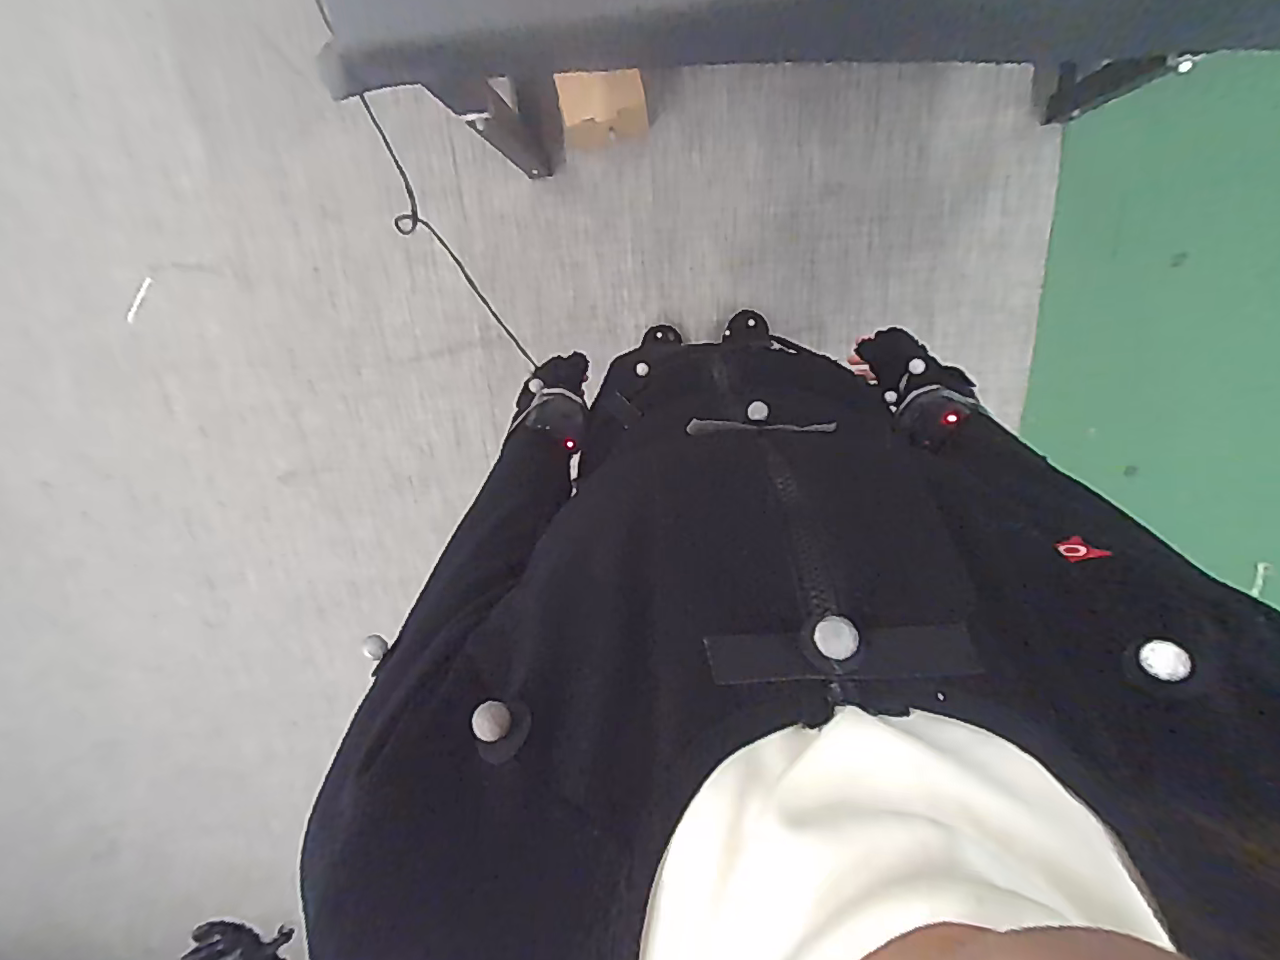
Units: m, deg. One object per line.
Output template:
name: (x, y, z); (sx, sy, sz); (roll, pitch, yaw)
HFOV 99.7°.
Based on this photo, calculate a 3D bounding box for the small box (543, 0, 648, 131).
small box: (-0.081, -0.845, 1.110); (0.168, 0.176, 0.179); (-12, 108, 7)
